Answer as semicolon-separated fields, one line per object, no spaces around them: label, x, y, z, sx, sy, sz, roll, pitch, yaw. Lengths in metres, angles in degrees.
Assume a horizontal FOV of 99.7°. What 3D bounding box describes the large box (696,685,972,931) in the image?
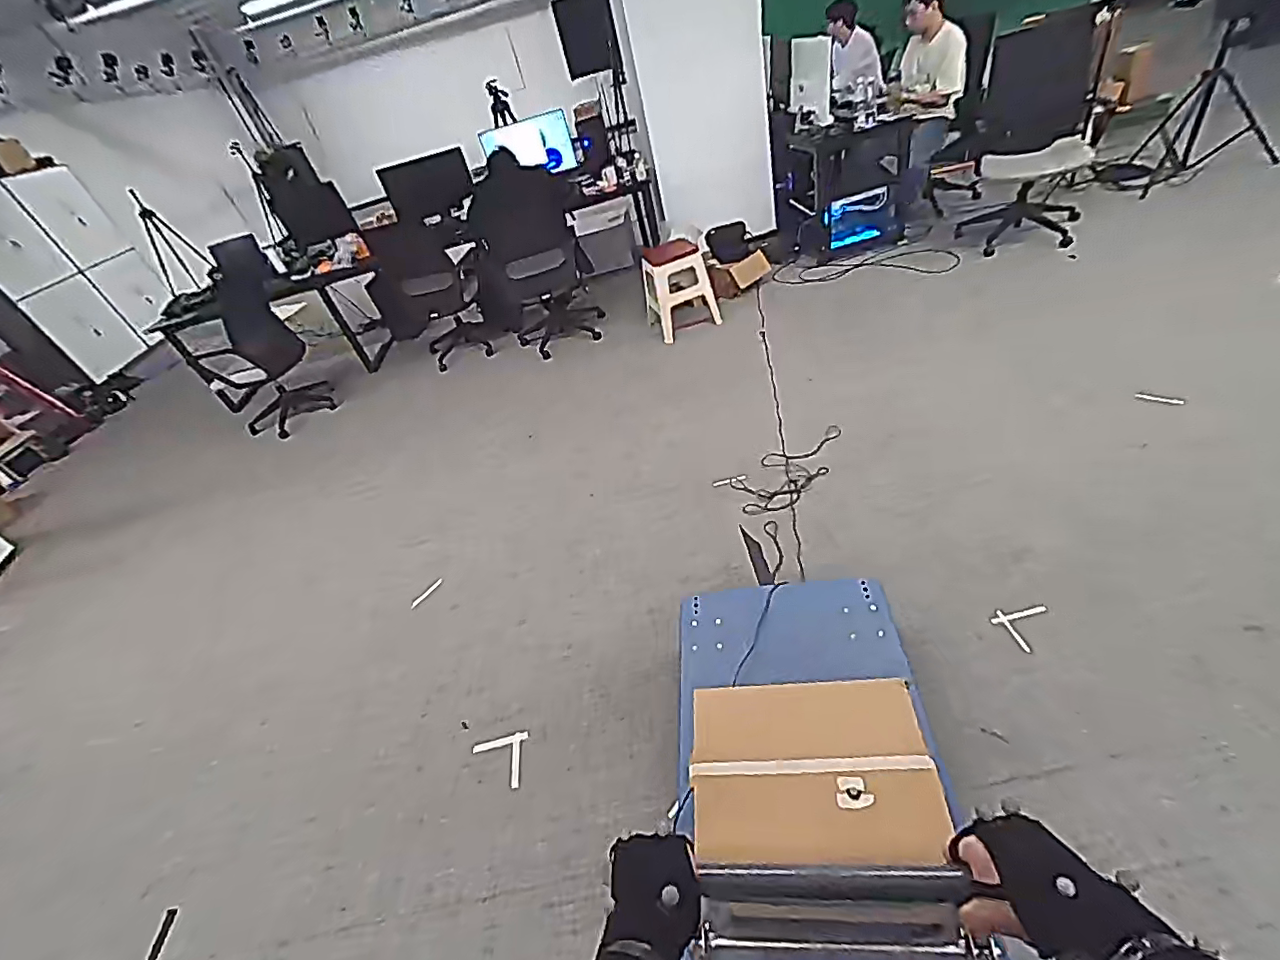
large box;0.327;0.617;1.016;0.408;0.320;0.320;-7;40;11
